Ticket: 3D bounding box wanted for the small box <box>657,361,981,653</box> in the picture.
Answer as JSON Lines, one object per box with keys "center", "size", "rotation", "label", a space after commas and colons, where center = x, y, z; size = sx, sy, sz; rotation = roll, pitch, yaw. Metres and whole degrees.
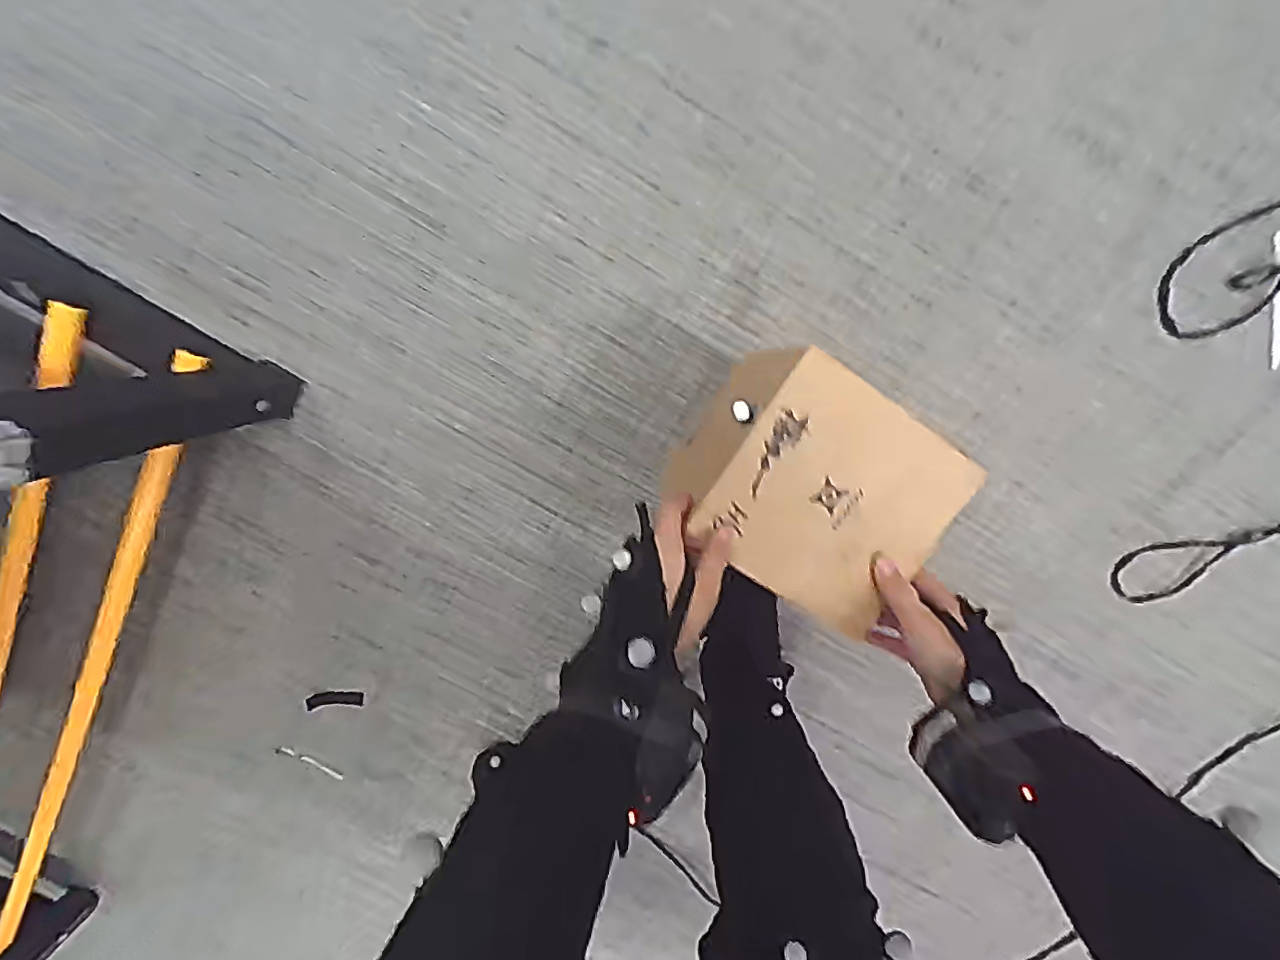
{"center": [0.135, 0.010, 0.476], "size": [0.179, 0.176, 0.168], "rotation": [32, 96, -11], "label": "small box"}
